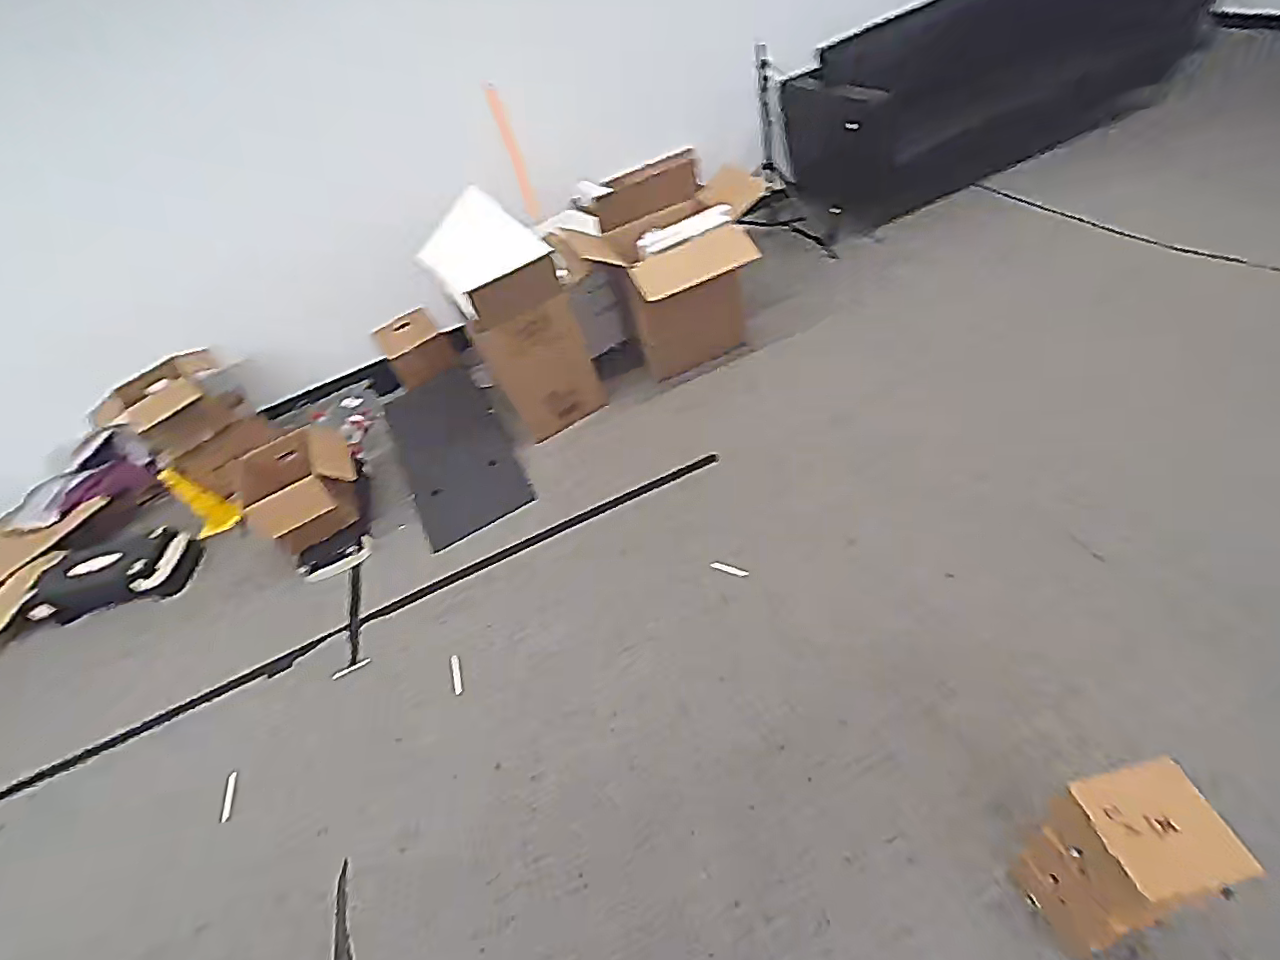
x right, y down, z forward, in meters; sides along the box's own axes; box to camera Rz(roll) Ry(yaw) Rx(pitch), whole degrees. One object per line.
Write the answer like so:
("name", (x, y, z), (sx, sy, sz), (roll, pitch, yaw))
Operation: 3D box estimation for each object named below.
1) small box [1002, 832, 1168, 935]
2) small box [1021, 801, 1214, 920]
("small box", (0.875, 0.777, 1.083), (0.179, 0.176, 0.168), (-22, 45, -3))
("small box", (0.839, 0.661, 0.976), (0.179, 0.176, 0.168), (-21, 45, -1))
